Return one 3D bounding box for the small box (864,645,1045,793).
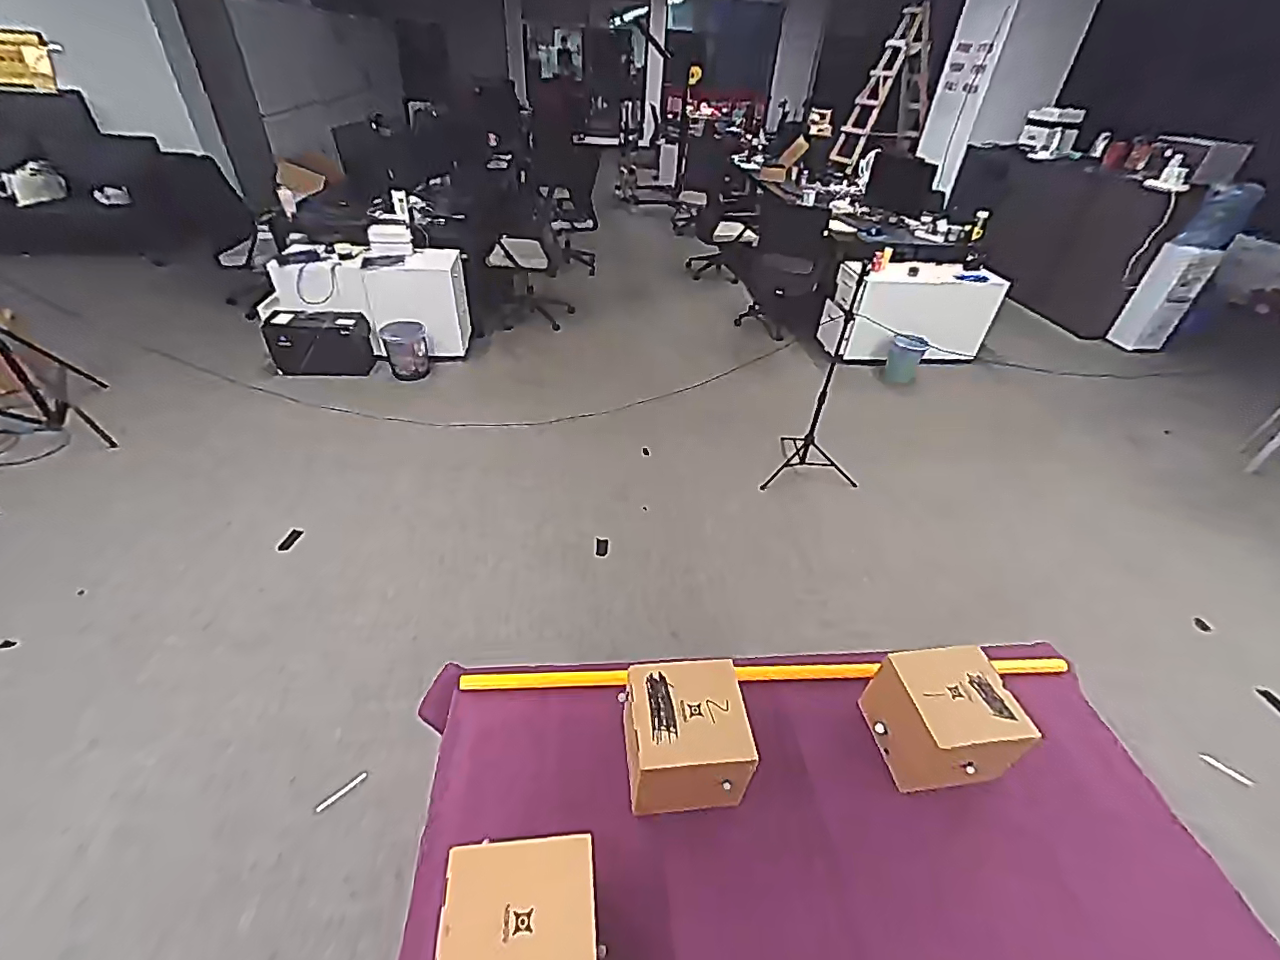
[{"bbox_3d":[0.513,0.402,0.913,0.179,0.176,0.168,-4,40,-7],"label":"small box"}]

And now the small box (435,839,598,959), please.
[{"bbox_3d":[-0.143,0.563,0.653,0.179,0.176,0.168,-1,38,-8],"label":"small box"}]
